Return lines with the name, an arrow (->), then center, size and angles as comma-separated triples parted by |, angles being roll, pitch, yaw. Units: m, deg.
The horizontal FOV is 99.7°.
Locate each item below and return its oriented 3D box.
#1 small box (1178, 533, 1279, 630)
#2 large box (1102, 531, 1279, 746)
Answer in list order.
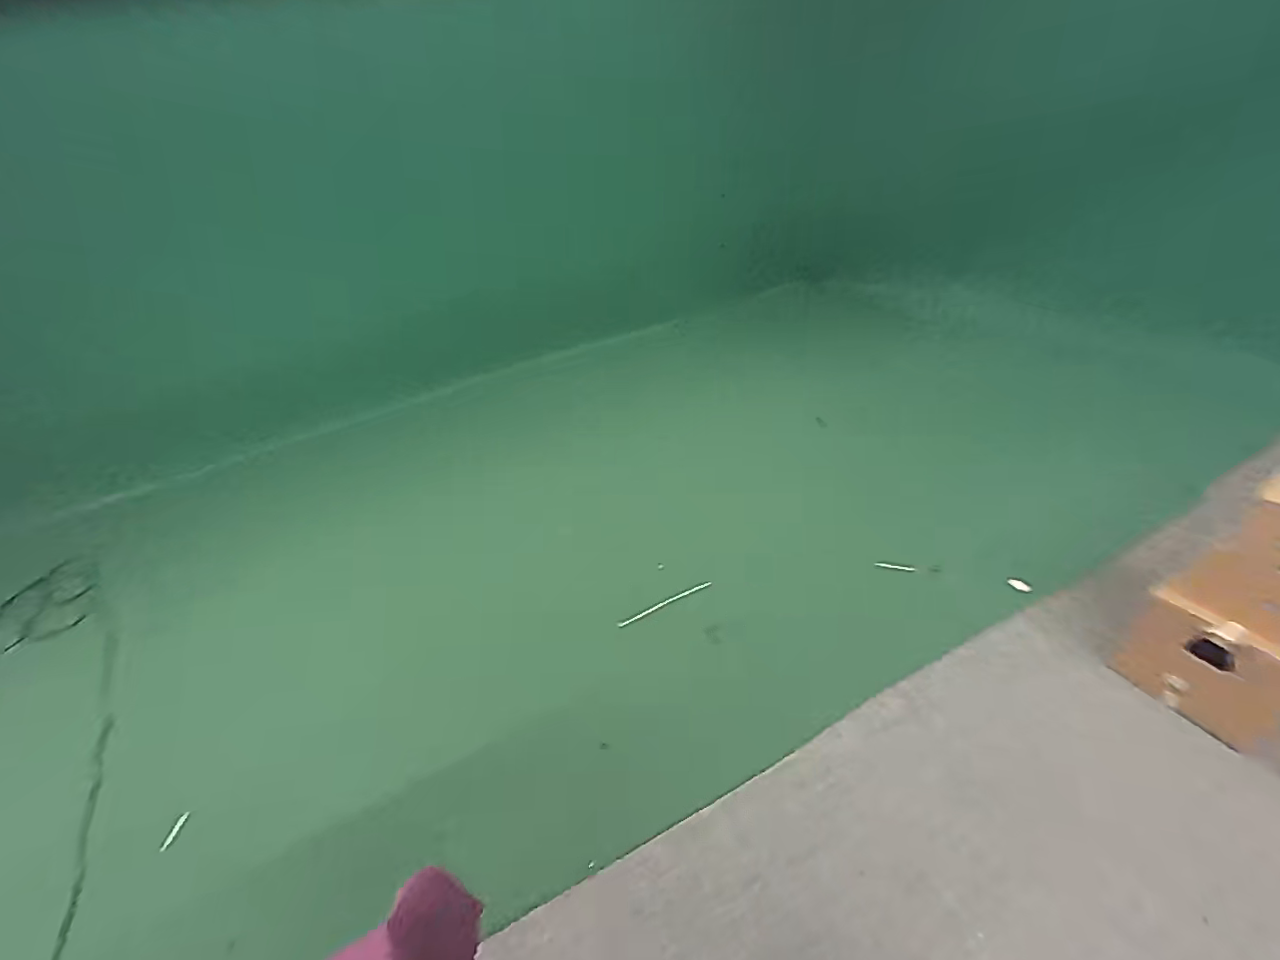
small box -> 1.451, 0.228, 1.279 | 0.168, 0.176, 0.179 | -23, 37, -19
large box -> 1.553, 0.405, 1.430 | 0.408, 0.320, 0.320 | -22, 38, -18
